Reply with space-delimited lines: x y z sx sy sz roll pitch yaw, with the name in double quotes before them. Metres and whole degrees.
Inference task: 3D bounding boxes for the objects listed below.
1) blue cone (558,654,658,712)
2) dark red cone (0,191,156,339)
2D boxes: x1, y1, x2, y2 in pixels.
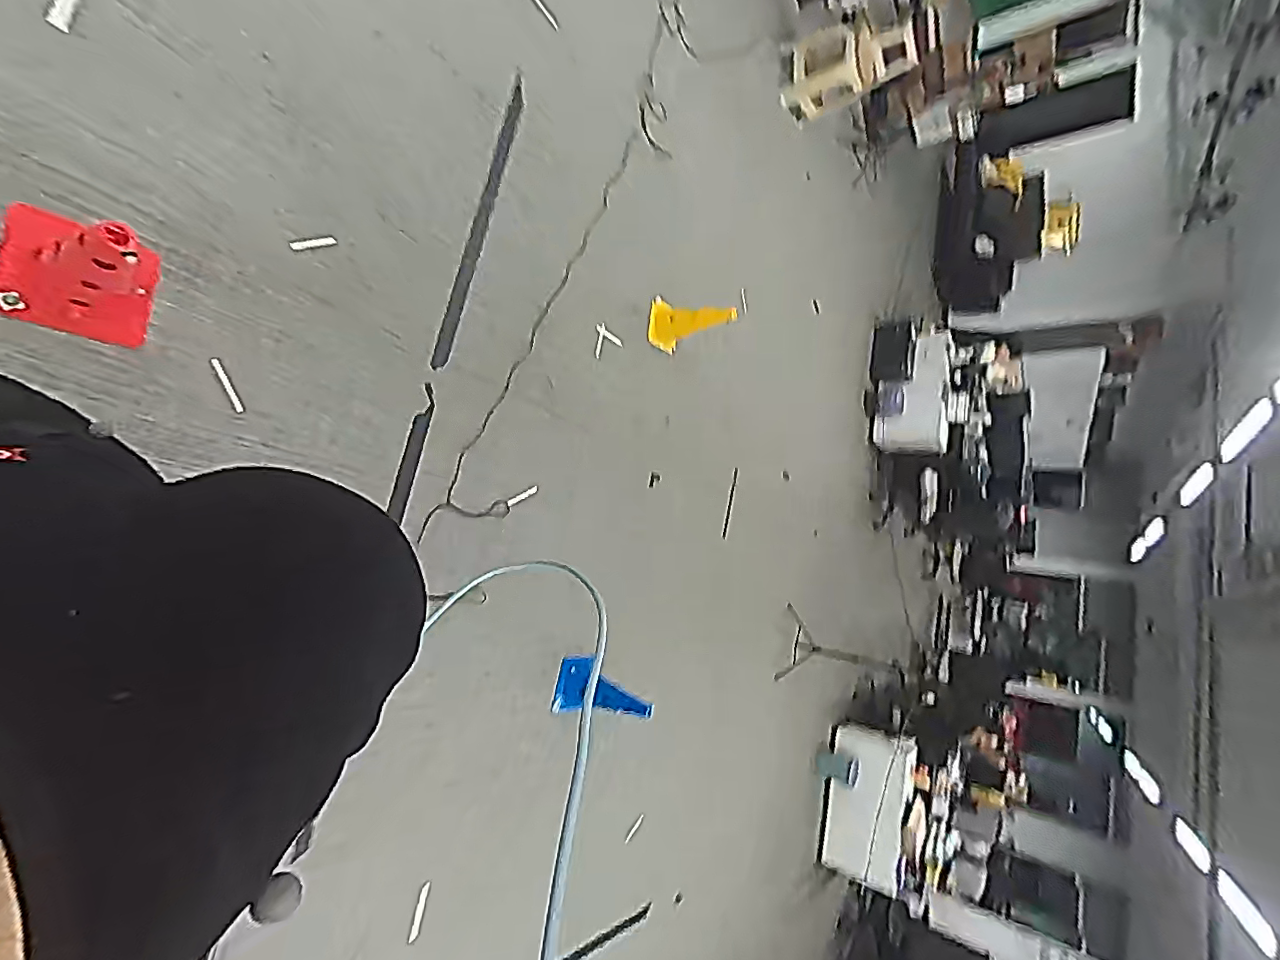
"blue cone" -0.104 0.771 1.965 0.192 0.380 0.193 25 73 -52
"dark red cone" -0.858 -0.363 0.850 0.201 0.394 0.202 12 83 -53
